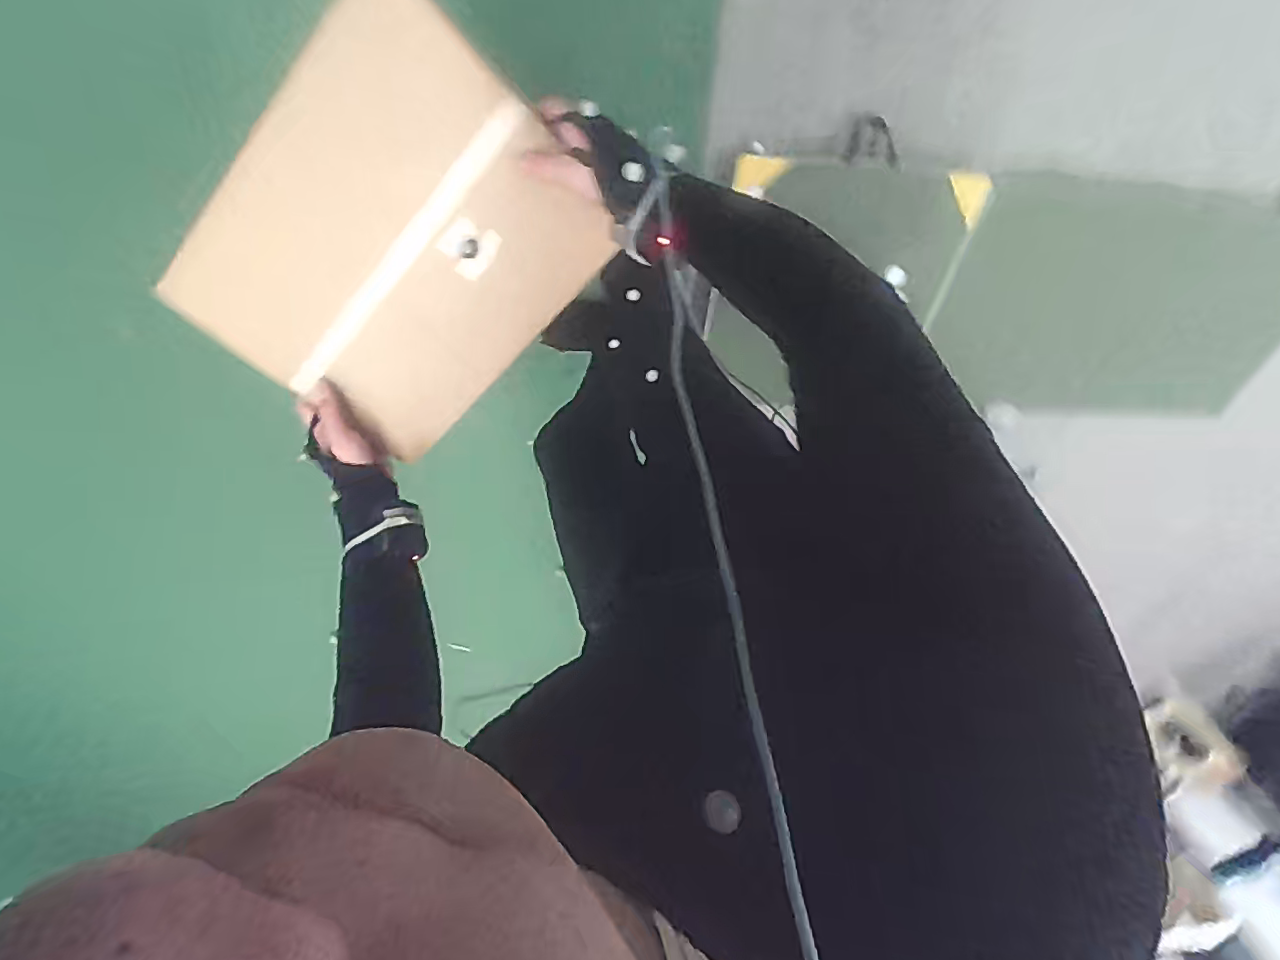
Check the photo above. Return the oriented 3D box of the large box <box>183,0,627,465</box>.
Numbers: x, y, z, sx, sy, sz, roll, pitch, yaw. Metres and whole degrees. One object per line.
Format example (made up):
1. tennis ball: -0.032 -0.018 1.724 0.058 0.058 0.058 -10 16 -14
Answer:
1. large box: -0.267 -0.304 0.714 0.408 0.320 0.320 -42 115 17
